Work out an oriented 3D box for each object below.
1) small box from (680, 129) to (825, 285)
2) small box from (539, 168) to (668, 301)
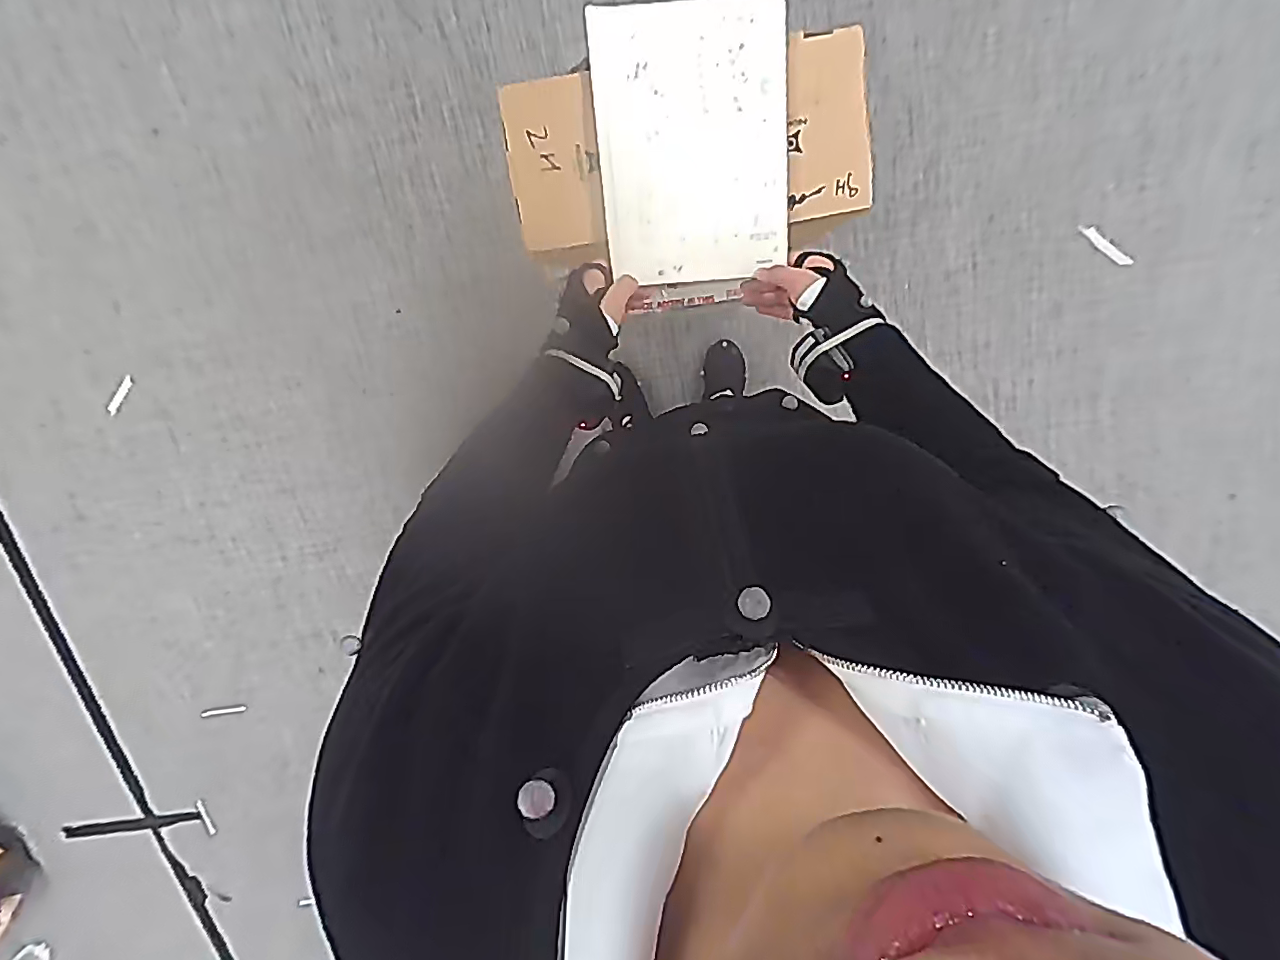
[{"bbox_3d":[0.165,-0.406,0.833,0.179,0.176,0.168,-11,105,3],"label":"small box"},{"bbox_3d":[-0.048,-0.373,0.846,0.179,0.176,0.168,-2,106,4],"label":"small box"}]
